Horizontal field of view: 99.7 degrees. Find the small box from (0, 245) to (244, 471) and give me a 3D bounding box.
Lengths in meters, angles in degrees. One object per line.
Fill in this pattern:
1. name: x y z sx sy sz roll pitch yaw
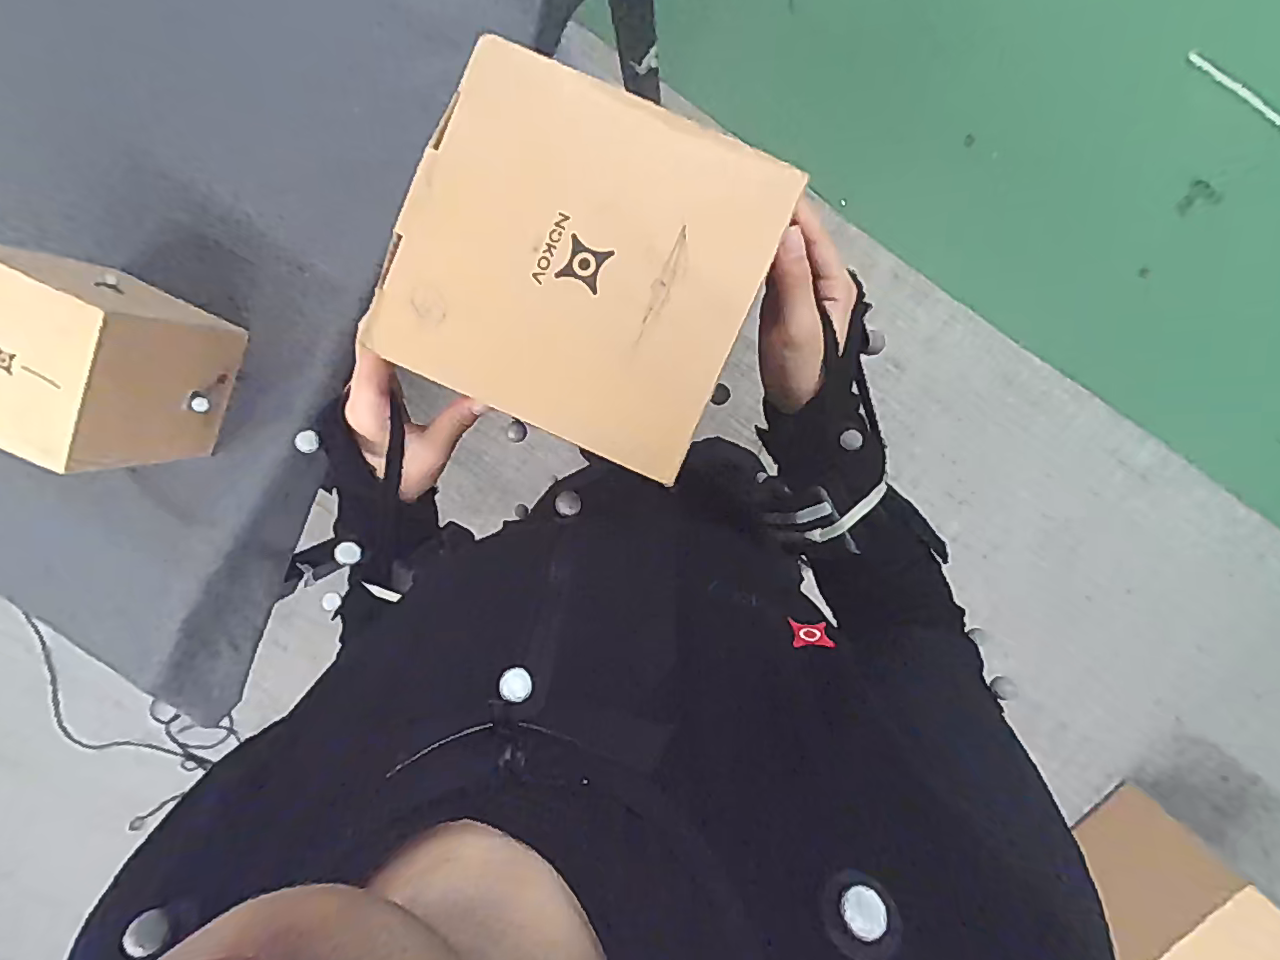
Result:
1. small box: -0.578 -0.126 0.568 0.179 0.176 0.168 25 100 -1
